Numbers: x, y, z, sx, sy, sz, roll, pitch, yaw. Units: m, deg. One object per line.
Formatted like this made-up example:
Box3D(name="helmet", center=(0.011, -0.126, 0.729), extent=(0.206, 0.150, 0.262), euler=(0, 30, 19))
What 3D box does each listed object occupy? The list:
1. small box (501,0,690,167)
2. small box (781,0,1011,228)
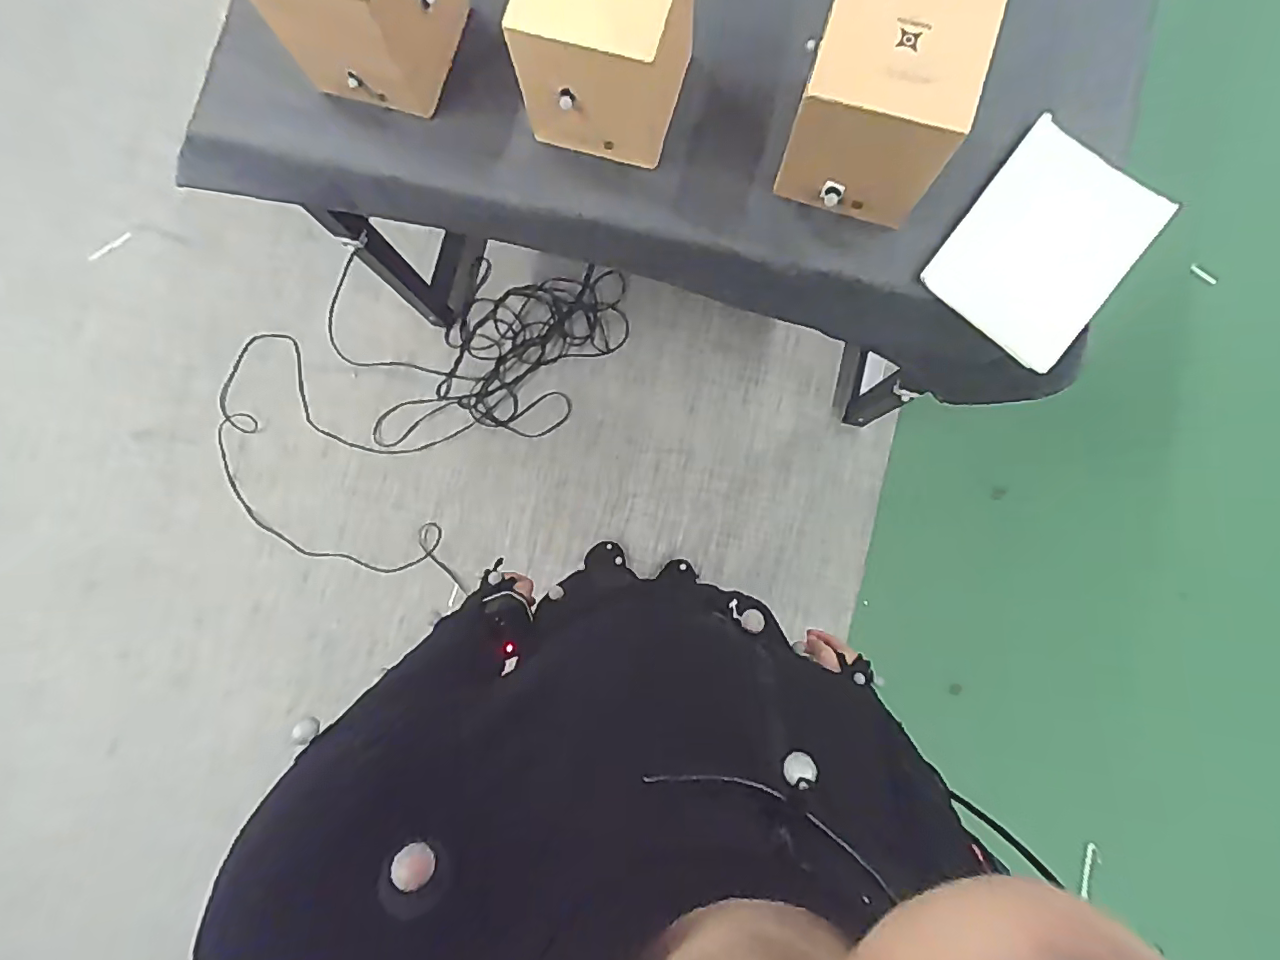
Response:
Box3D(name="small box", center=(-0.038, -0.509, 0.632), extent=(0.168, 0.176, 0.179), euler=(16, 84, 4))
Box3D(name="small box", center=(0.272, -0.427, 0.613), extent=(0.168, 0.176, 0.179), euler=(17, 86, 5))
